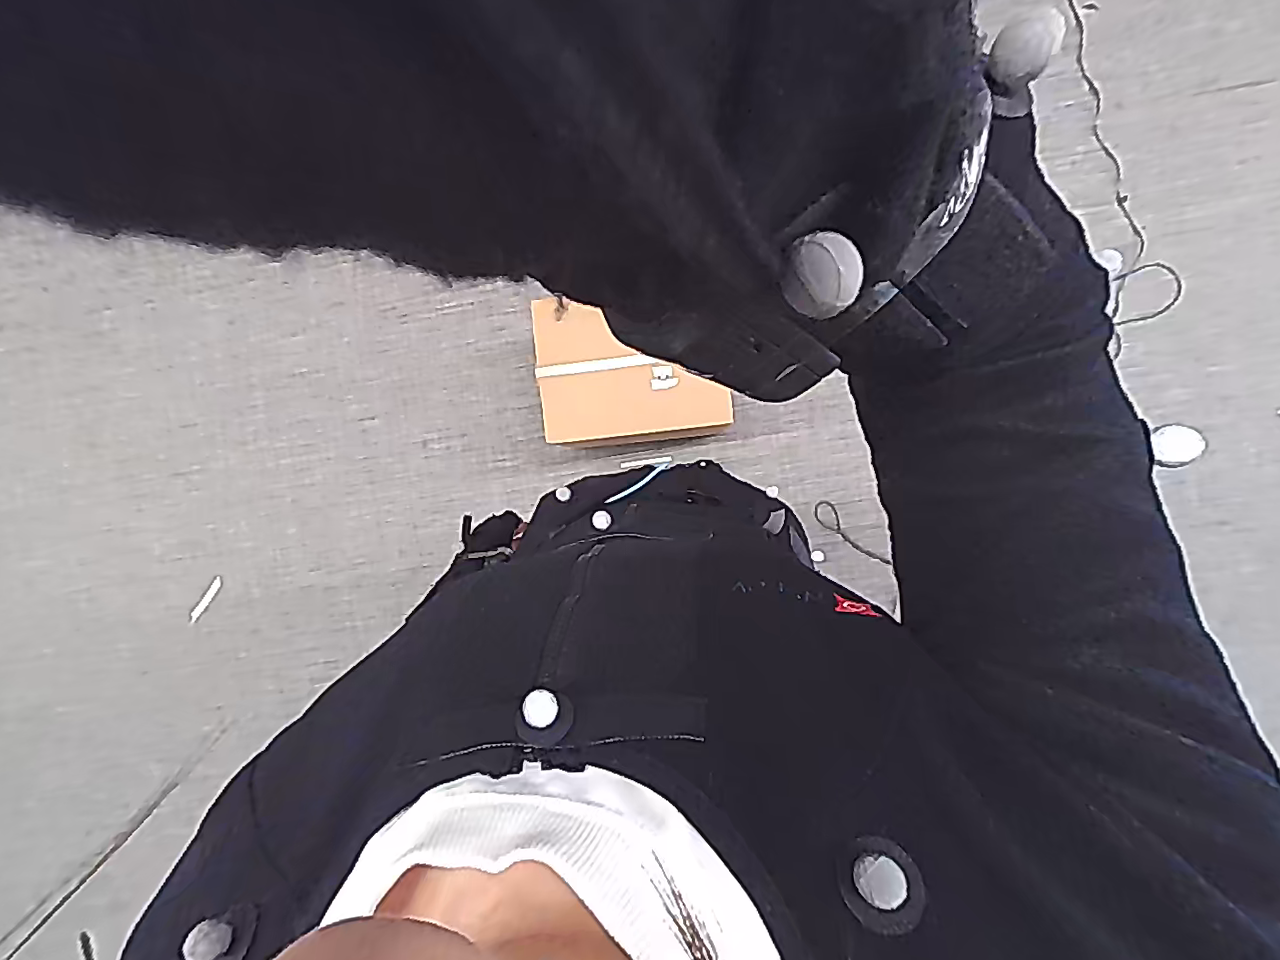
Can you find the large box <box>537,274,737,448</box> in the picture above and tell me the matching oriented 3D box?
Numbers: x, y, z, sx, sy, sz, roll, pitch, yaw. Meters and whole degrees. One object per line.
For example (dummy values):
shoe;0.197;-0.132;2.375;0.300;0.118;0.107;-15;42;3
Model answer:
large box;0.000;-0.261;1.300;0.408;0.320;0.320;-6;91;4
